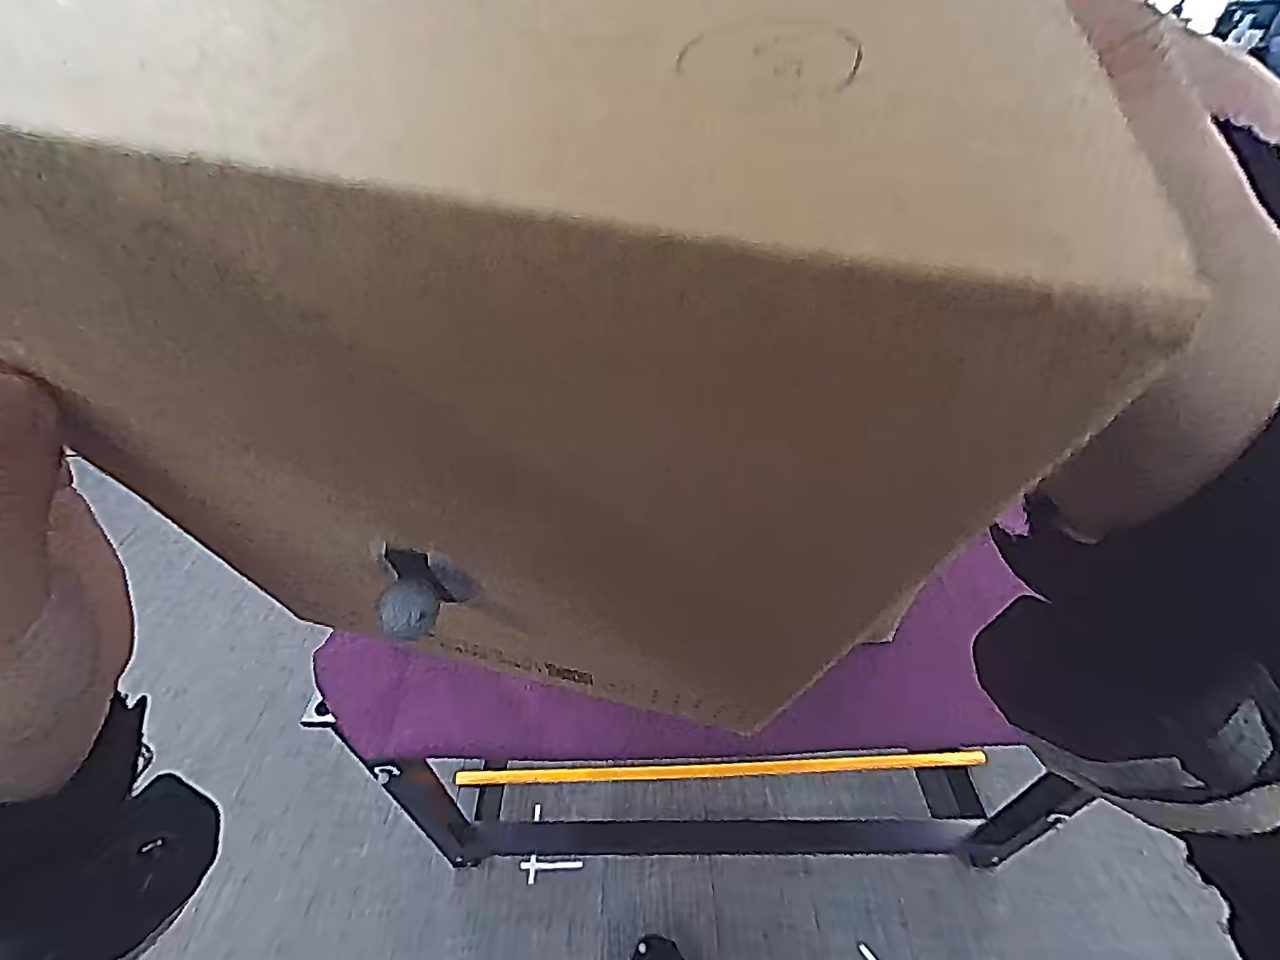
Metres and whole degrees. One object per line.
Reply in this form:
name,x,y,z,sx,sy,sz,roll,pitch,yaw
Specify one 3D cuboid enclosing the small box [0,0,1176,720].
small box,-0.017,-0.046,0.164,0.168,0.176,0.179,13,56,6
